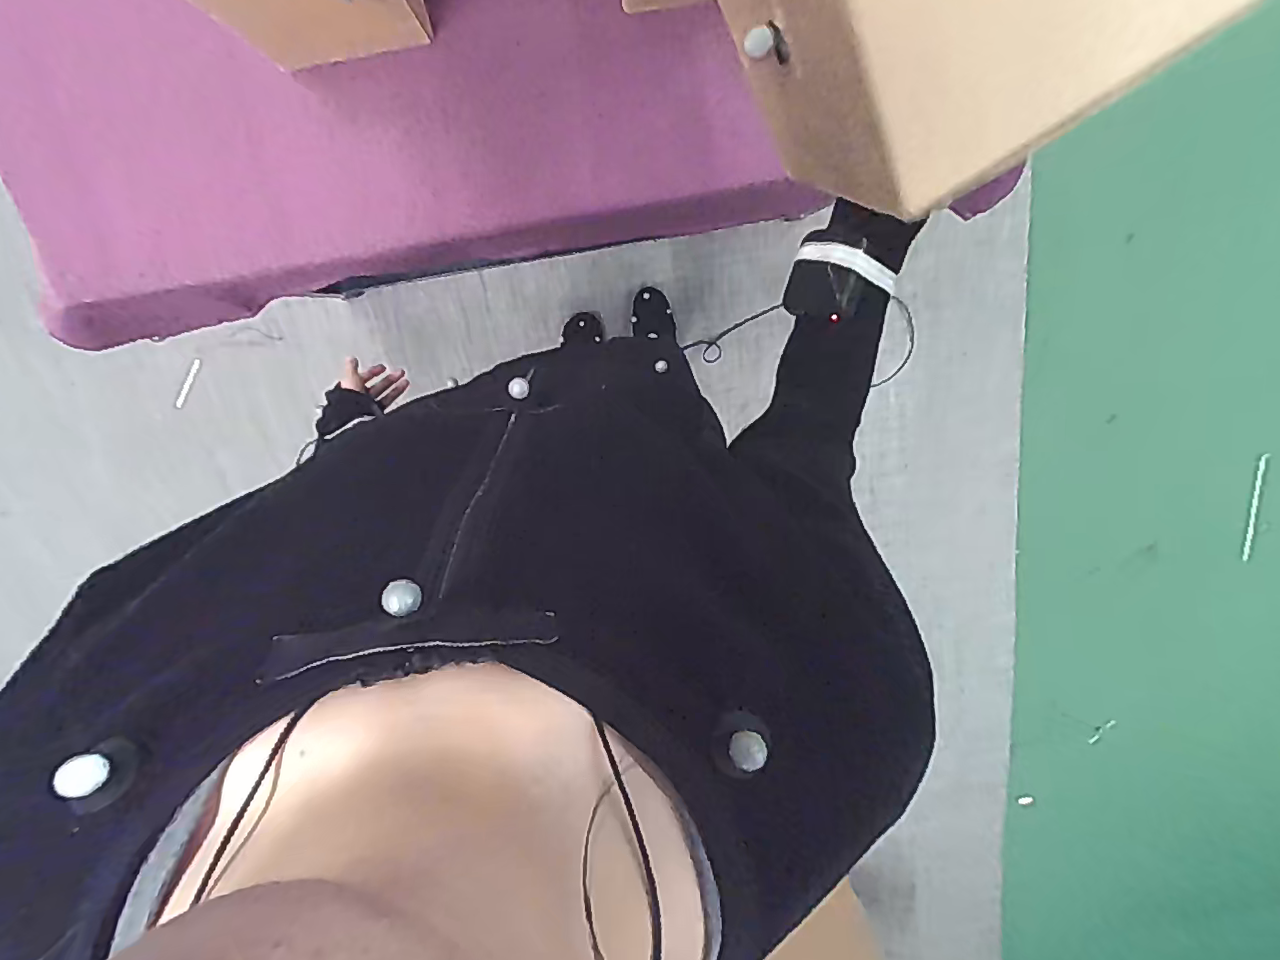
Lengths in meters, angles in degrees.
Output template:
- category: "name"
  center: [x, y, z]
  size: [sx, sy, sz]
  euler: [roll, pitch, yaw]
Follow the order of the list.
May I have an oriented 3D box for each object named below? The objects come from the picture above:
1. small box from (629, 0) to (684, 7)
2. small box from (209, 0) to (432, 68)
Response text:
- category: "small box"
  center: [0.062, -0.595, 0.512]
  size: [0.179, 0.176, 0.168]
  euler: [-11, 108, -1]
- category: "small box"
  center: [-0.324, -0.526, 0.507]
  size: [0.179, 0.176, 0.168]
  euler: [-13, 107, -1]
